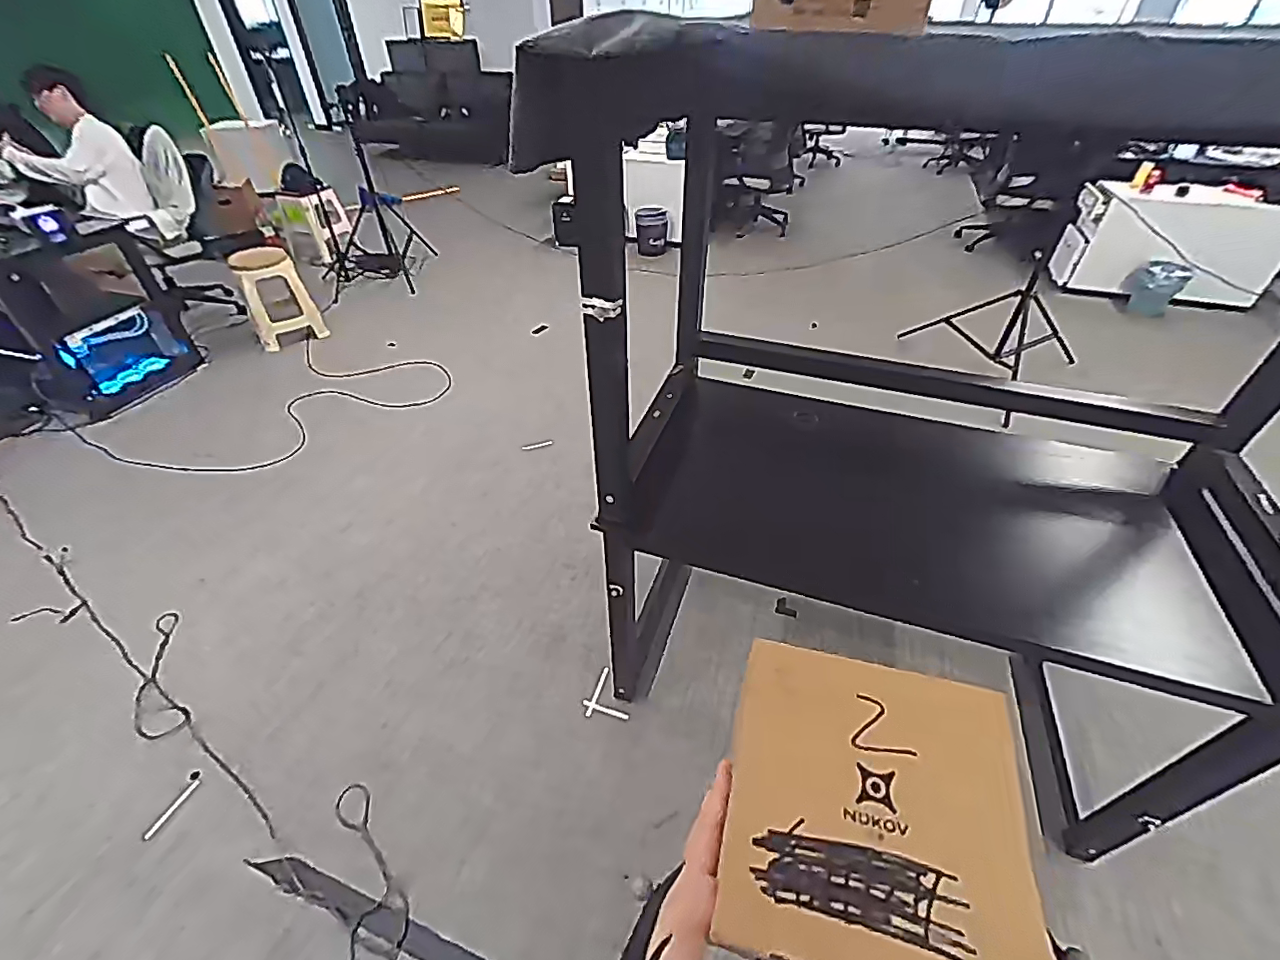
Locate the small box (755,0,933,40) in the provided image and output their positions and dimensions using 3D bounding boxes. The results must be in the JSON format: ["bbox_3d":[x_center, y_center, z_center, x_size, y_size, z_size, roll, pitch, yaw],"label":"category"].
[{"bbox_3d":[0.214,-0.543,0.532,0.168,0.176,0.179,13,41,12],"label":"small box"}]
